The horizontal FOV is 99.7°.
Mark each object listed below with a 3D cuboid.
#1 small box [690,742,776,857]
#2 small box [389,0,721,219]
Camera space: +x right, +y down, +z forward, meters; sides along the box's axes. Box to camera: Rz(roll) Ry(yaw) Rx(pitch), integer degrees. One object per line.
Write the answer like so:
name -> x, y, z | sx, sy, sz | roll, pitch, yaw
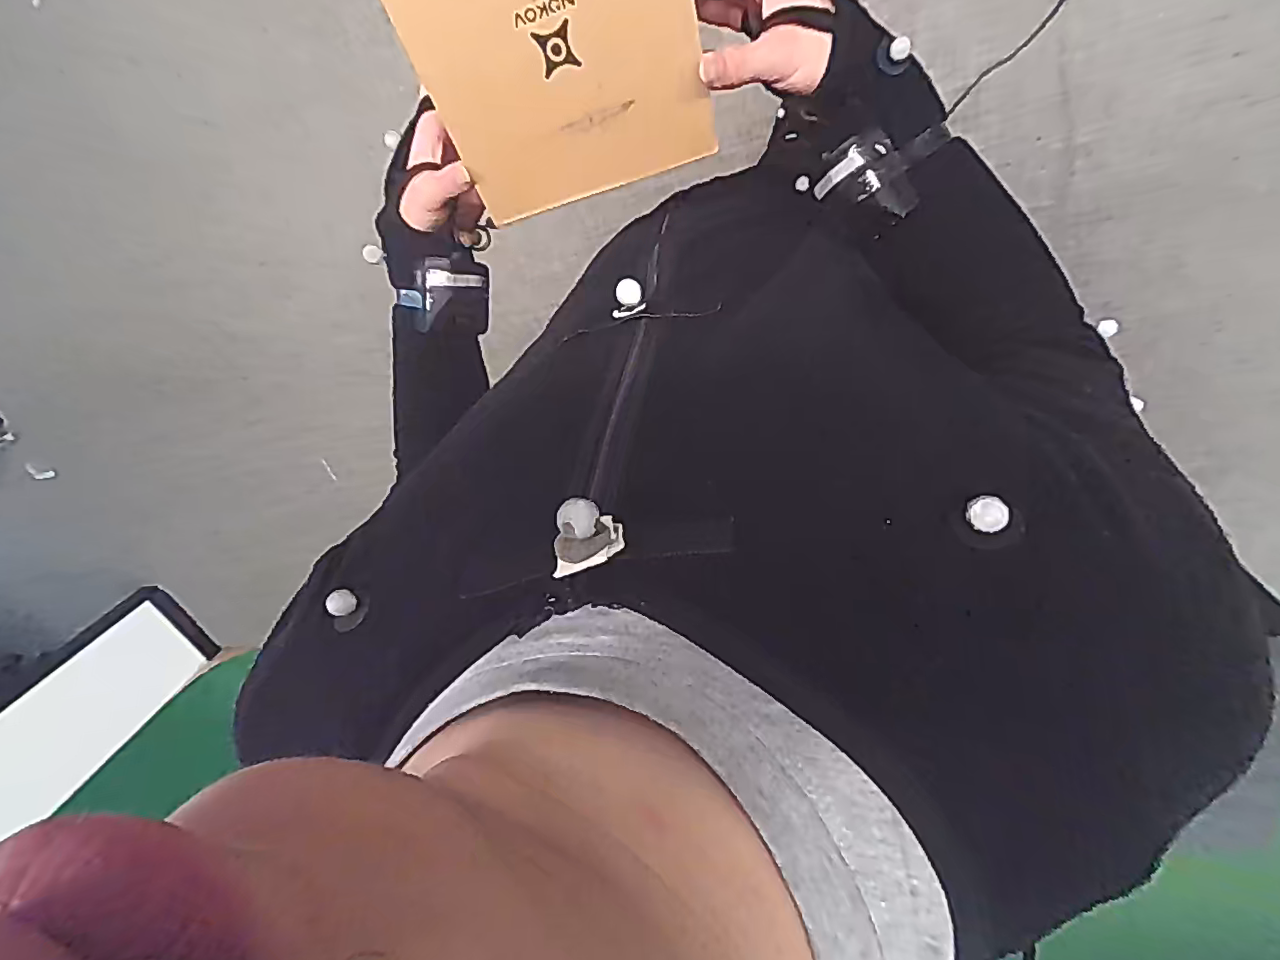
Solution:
small box -> 0.216, 0.723, 1.236 | 0.168, 0.176, 0.179 | -6, 122, 17
small box -> -0.051, -0.314, 0.354 | 0.168, 0.176, 0.179 | -12, 141, 11
